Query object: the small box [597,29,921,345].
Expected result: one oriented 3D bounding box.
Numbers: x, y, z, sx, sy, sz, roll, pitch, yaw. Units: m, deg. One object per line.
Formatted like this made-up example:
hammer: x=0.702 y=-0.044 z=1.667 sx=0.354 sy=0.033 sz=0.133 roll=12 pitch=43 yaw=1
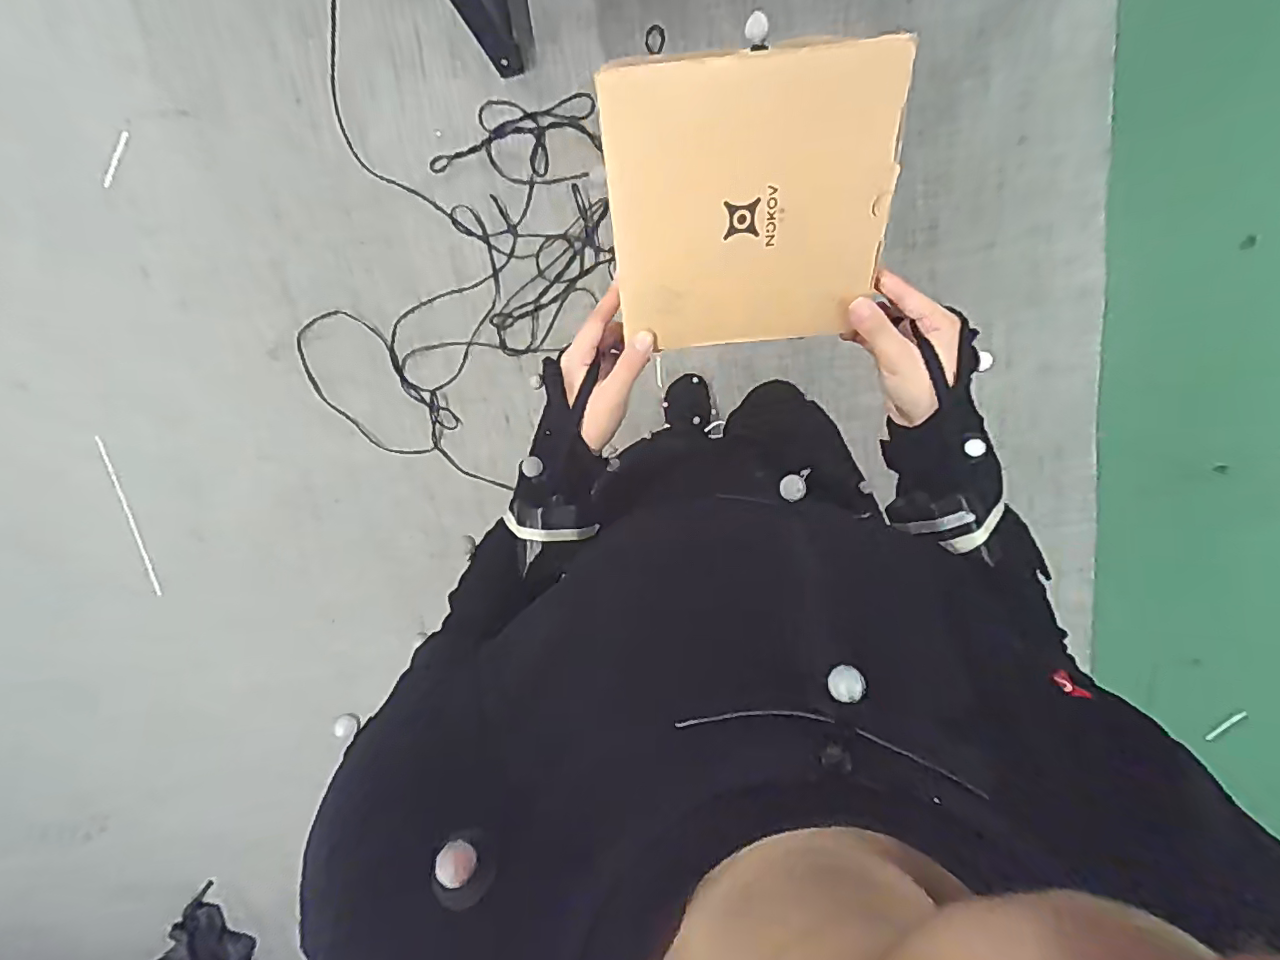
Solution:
small box: x=0.068 y=-0.215 z=0.401 sx=0.179 sy=0.176 sz=0.168 roll=-5 pitch=128 yaw=2
